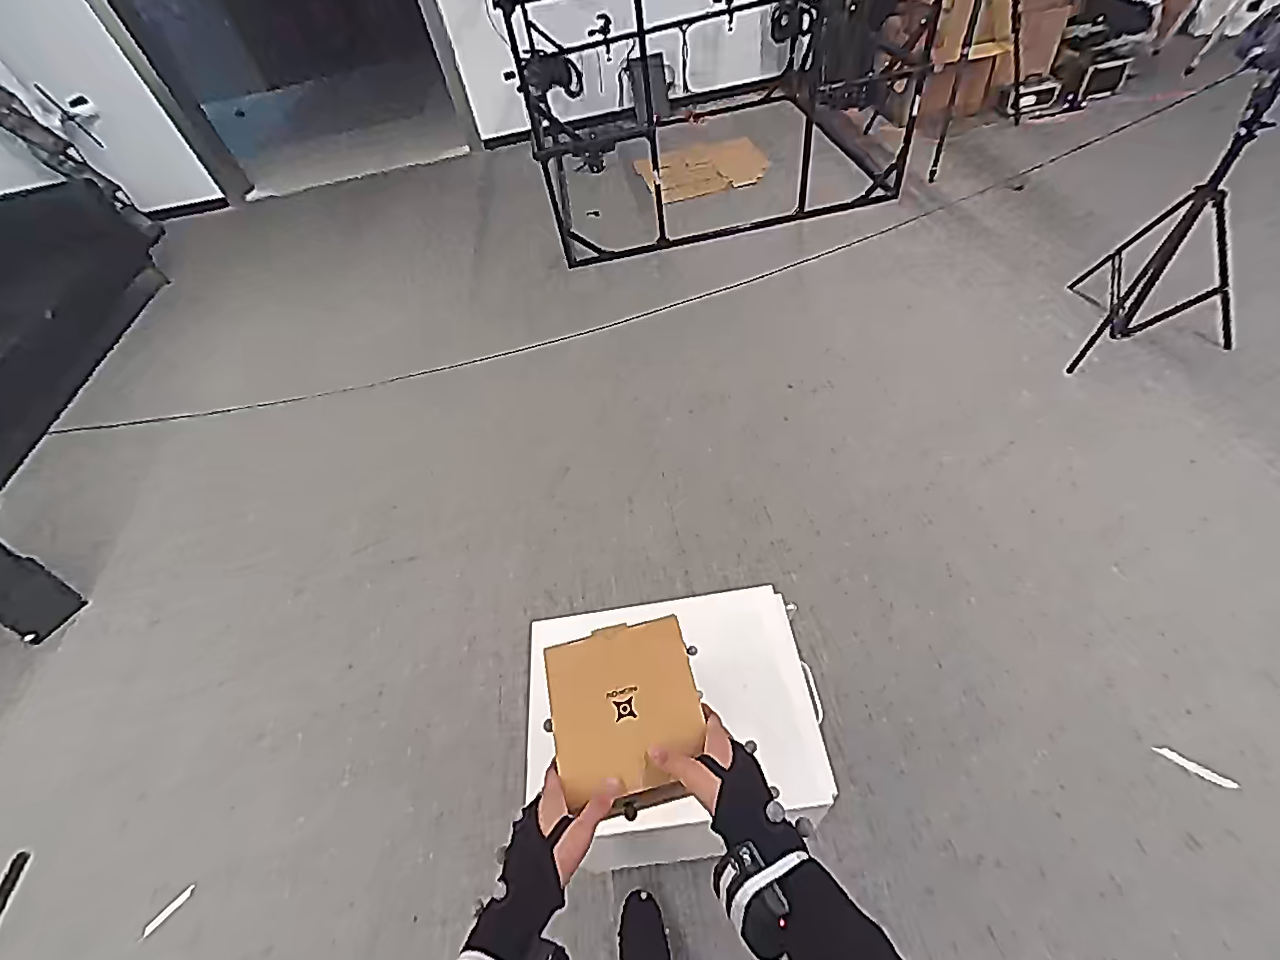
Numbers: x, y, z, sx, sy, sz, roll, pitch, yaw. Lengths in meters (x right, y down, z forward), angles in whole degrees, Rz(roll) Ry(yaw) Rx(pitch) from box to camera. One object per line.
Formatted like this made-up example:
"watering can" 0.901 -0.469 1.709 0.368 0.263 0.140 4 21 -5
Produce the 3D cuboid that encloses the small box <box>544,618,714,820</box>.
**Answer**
"small box" -0.010 0.298 0.662 0.168 0.176 0.179 -14 52 -3
